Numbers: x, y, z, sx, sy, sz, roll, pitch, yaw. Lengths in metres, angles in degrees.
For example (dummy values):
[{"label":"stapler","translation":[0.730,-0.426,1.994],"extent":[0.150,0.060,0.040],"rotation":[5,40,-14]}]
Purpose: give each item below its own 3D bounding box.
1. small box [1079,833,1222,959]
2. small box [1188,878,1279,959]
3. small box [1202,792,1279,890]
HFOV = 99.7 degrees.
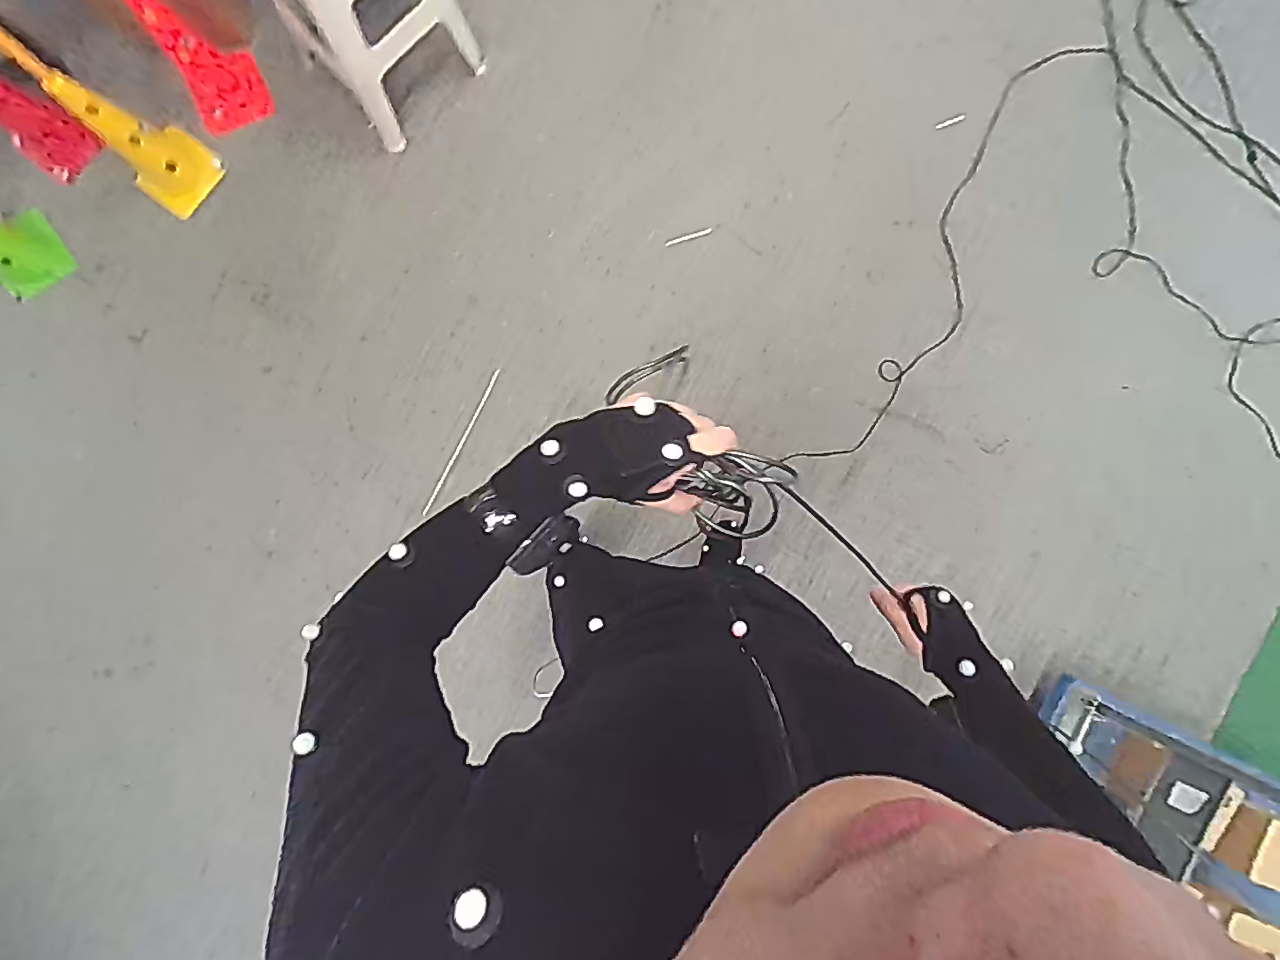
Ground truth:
[{"label":"small box","translation":[1.304,1.062,1.393],"extent":[0.179,0.176,0.168],"rotation":[28,89,0]},{"label":"small box","translation":[1.545,1.183,1.398],"extent":[0.179,0.176,0.168],"rotation":[23,88,0]},{"label":"small box","translation":[1.641,0.951,1.402],"extent":[0.179,0.176,0.168],"rotation":[23,90,-1]}]
